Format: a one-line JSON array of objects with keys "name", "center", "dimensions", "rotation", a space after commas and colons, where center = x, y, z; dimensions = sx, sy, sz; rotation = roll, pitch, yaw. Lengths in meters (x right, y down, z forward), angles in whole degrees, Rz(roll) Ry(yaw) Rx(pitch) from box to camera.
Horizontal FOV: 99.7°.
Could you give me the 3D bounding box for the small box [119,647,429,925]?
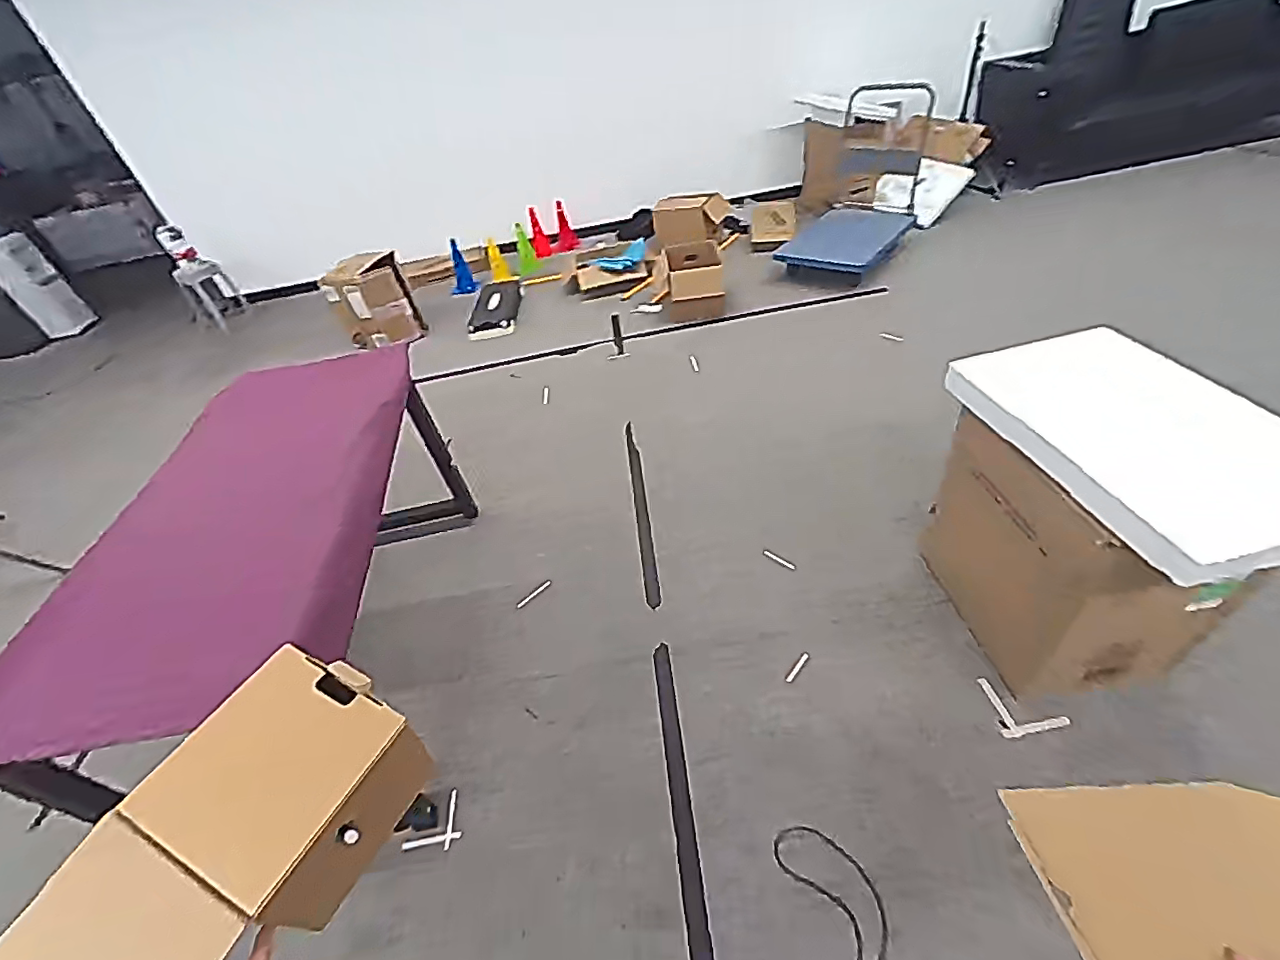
[{"name": "small box", "center": [-0.345, 0.315, 0.555], "dimensions": [0.168, 0.176, 0.179], "rotation": [24, 49, 14]}]
